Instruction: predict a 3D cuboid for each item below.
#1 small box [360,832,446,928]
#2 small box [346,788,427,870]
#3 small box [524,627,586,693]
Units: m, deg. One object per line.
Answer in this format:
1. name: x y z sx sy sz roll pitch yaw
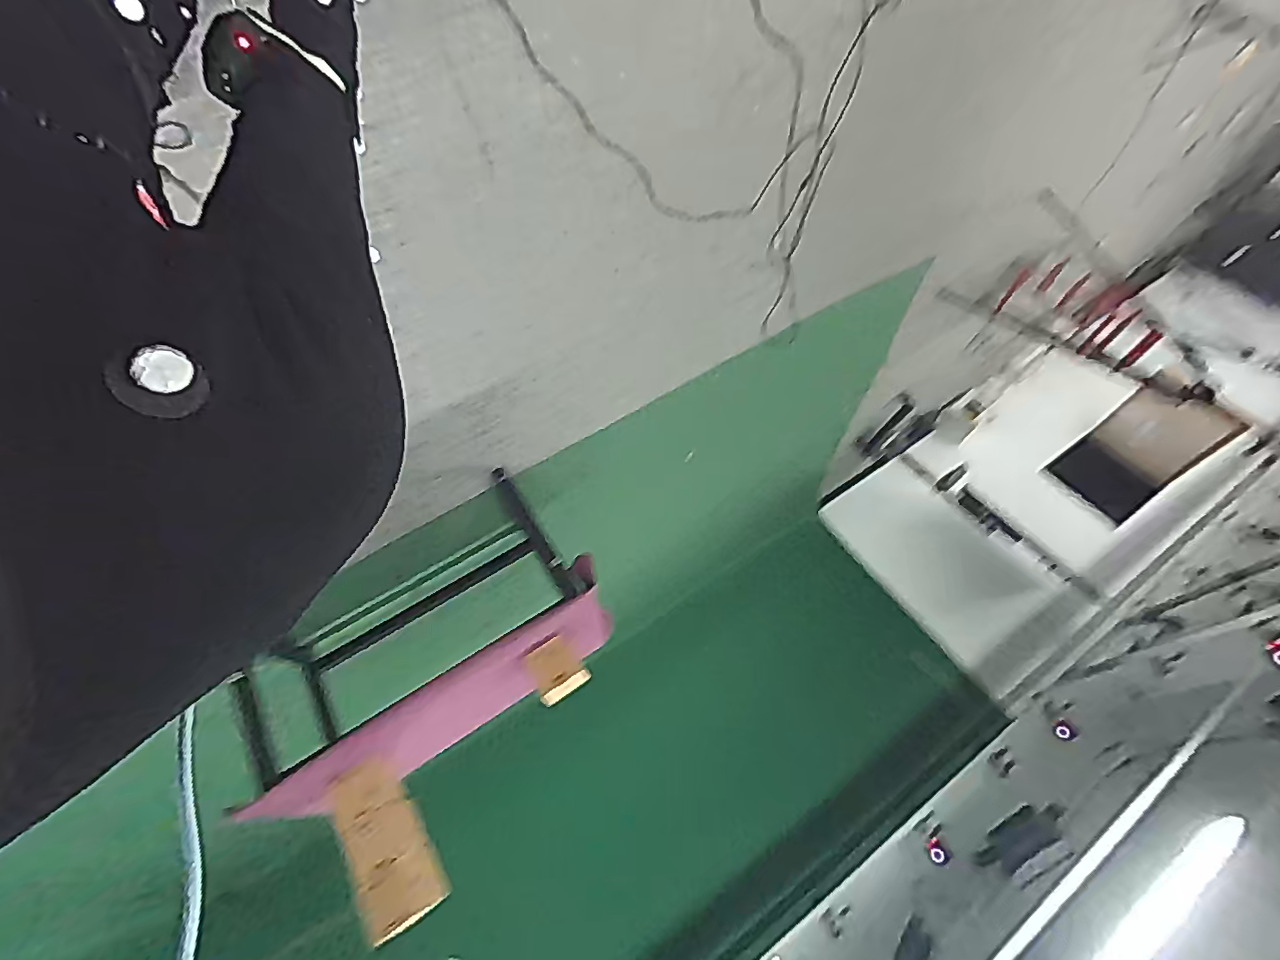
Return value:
1. small box: -0.776 1.295 1.766 0.168 0.176 0.179 -36 155 -2
2. small box: -0.860 1.175 1.837 0.168 0.176 0.179 -32 154 -12
3. small box: -0.330 0.697 2.098 0.168 0.176 0.179 -30 152 -13
